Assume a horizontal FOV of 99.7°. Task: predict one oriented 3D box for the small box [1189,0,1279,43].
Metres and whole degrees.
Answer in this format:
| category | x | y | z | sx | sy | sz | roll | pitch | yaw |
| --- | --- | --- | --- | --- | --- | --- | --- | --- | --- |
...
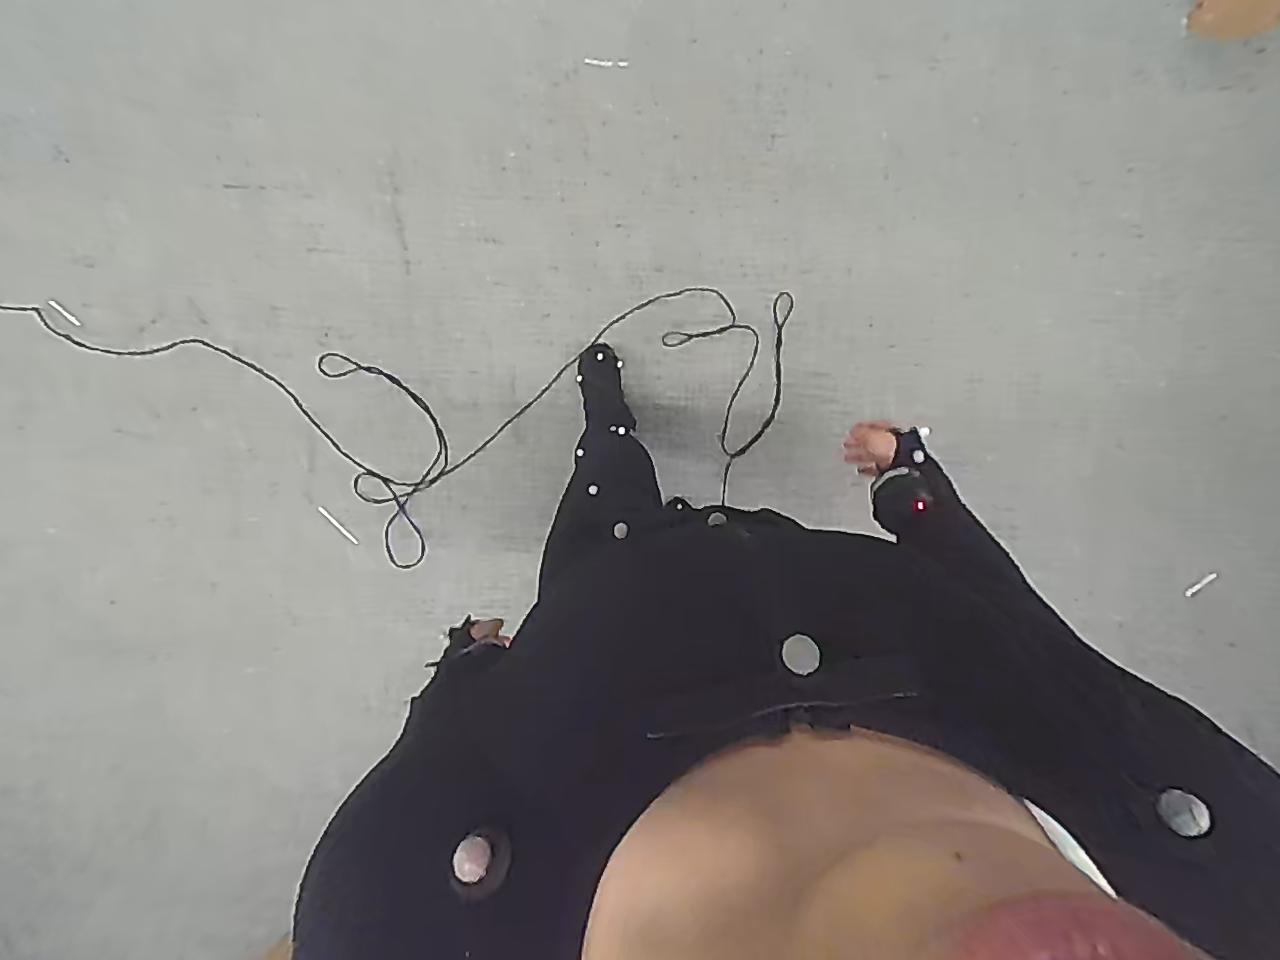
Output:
| category | x | y | z | sx | sy | sz | roll | pitch | yaw |
| --- | --- | --- | --- | --- | --- | --- | --- | --- | --- |
| small box | 1.485 | -1.186 | 1.283 | 0.179 | 0.176 | 0.168 | 7 | 95 | -1 |
